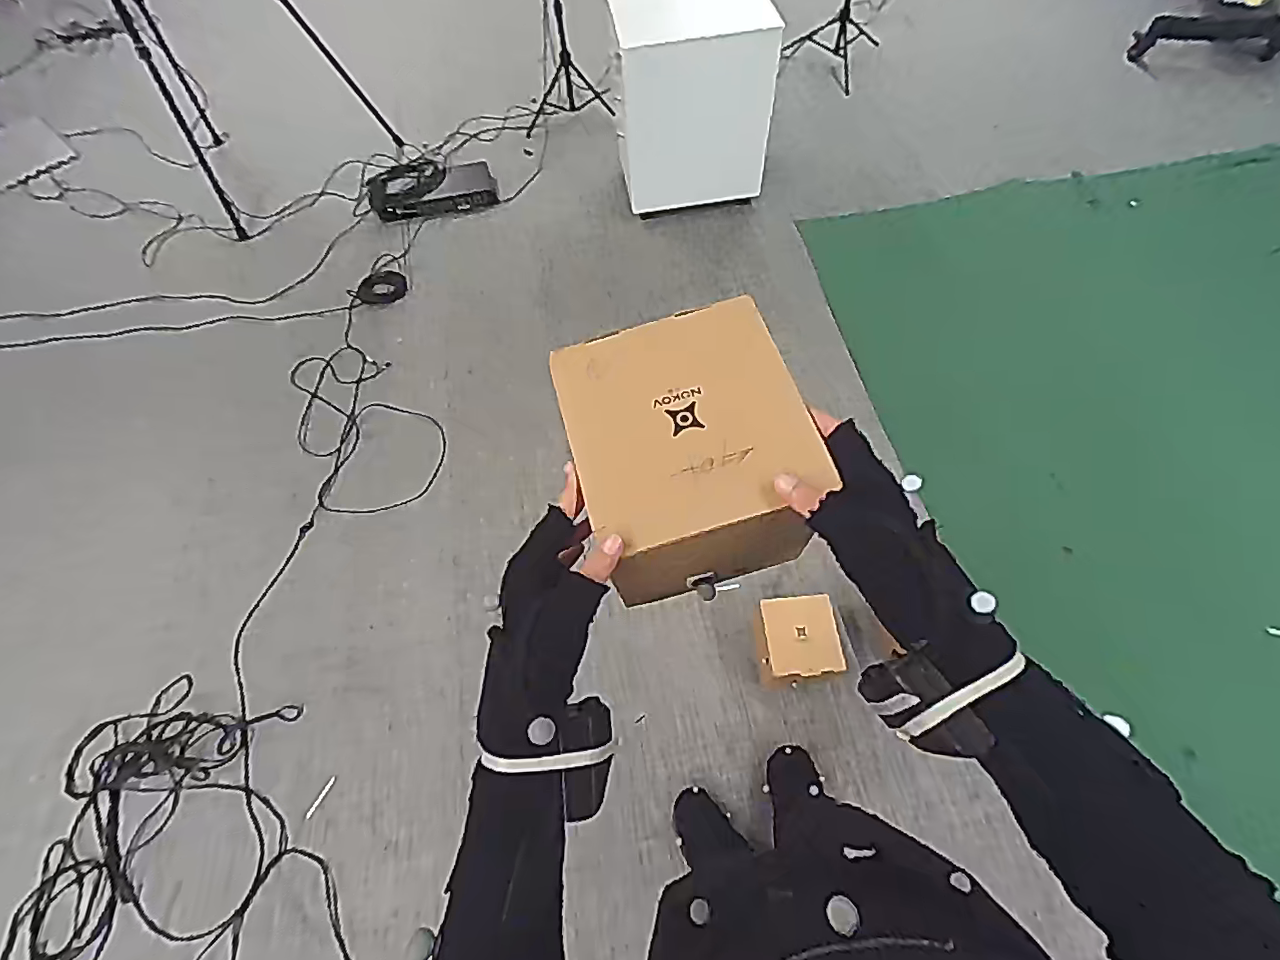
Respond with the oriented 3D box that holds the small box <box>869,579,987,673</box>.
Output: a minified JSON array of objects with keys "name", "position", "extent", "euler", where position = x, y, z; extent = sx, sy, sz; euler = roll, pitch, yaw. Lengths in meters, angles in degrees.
[{"name":"small box","position":[0.684,0.360,1.308],"extent":[0.168,0.176,0.179],"euler":[-10,60,-3]}]

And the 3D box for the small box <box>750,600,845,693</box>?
[{"name":"small box","position":[0.368,0.403,1.299],"extent":[0.168,0.176,0.179],"euler":[-5,62,-1]}]
